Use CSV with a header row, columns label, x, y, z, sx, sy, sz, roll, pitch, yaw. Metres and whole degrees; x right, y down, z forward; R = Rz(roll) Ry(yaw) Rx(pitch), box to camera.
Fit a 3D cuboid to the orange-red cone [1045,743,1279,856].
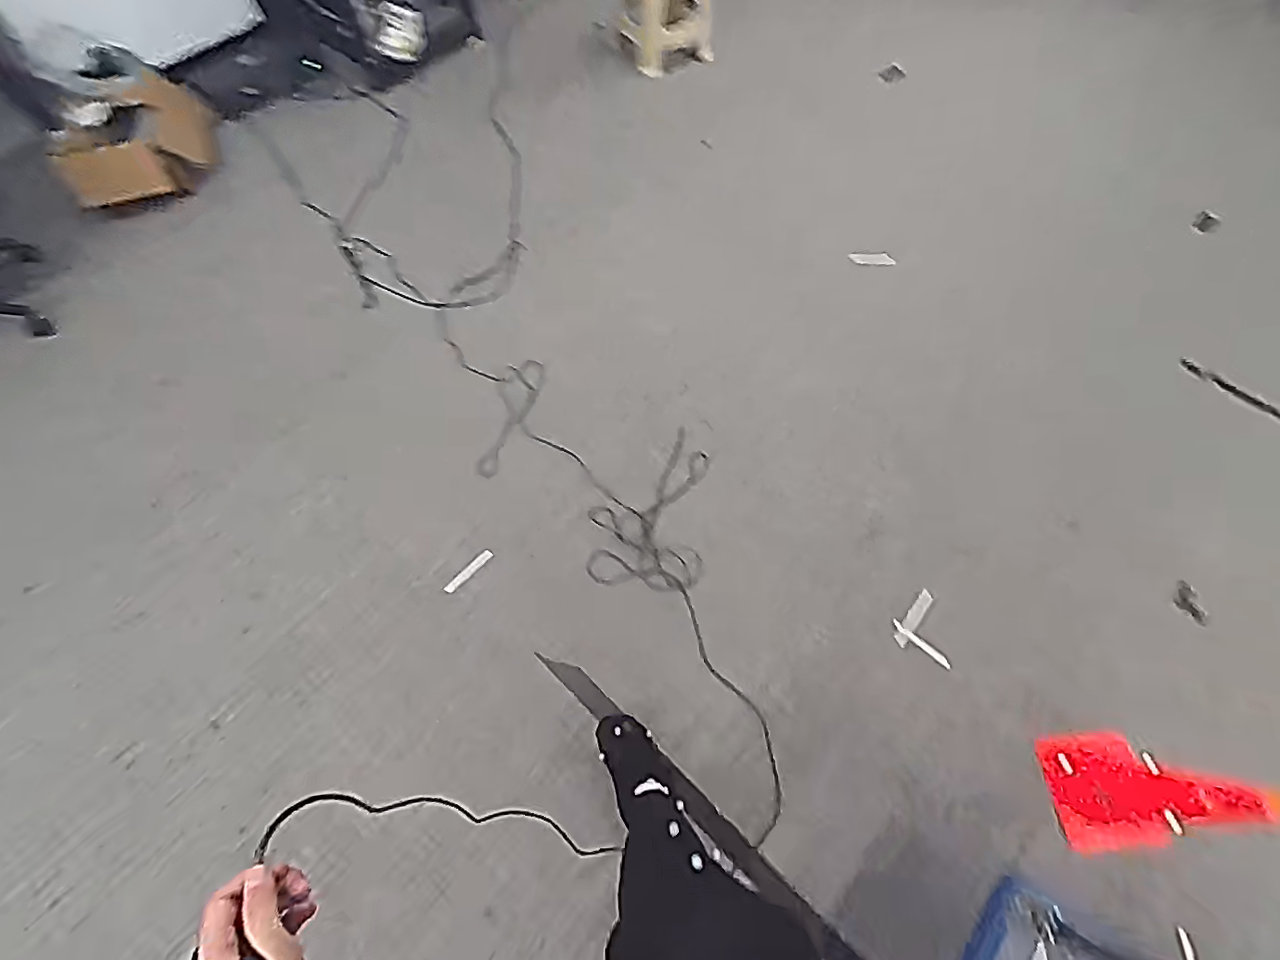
label,x,y,z,sx,sy,sz,roll,pitch,yaw
orange-red cone,0.944,0.570,0.944,0.198,0.360,0.199,-2,64,0
